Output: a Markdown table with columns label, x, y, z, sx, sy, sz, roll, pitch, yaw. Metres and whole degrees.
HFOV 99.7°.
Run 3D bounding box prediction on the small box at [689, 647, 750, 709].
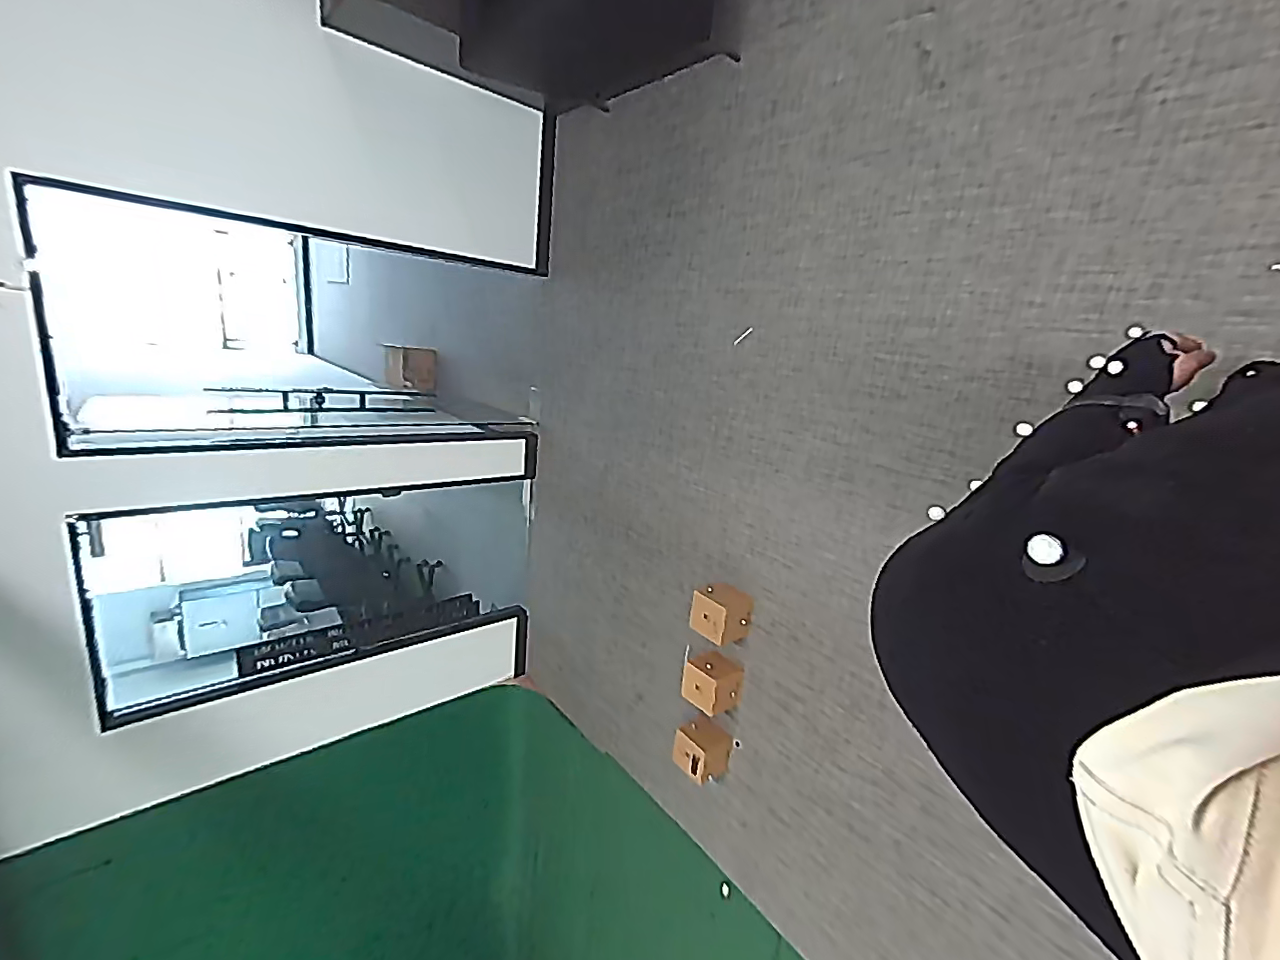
| label | x | y | z | sx | sy | sz | roll | pitch | yaw |
| --- | --- | --- | --- | --- | --- | --- | --- | --- | --- |
| small box | 0.329 | 0.815 | 2.252 | 0.179 | 0.176 | 0.168 | 20 | 110 | 47 |

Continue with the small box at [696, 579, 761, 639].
| label | x | y | z | sx | sy | sz | roll | pitch | yaw |
| --- | --- | --- | --- | --- | --- | --- | --- | --- | --- |
| small box | 0.356 | 0.511 | 2.176 | 0.179 | 0.176 | 0.168 | 25 | 114 | 46 |
